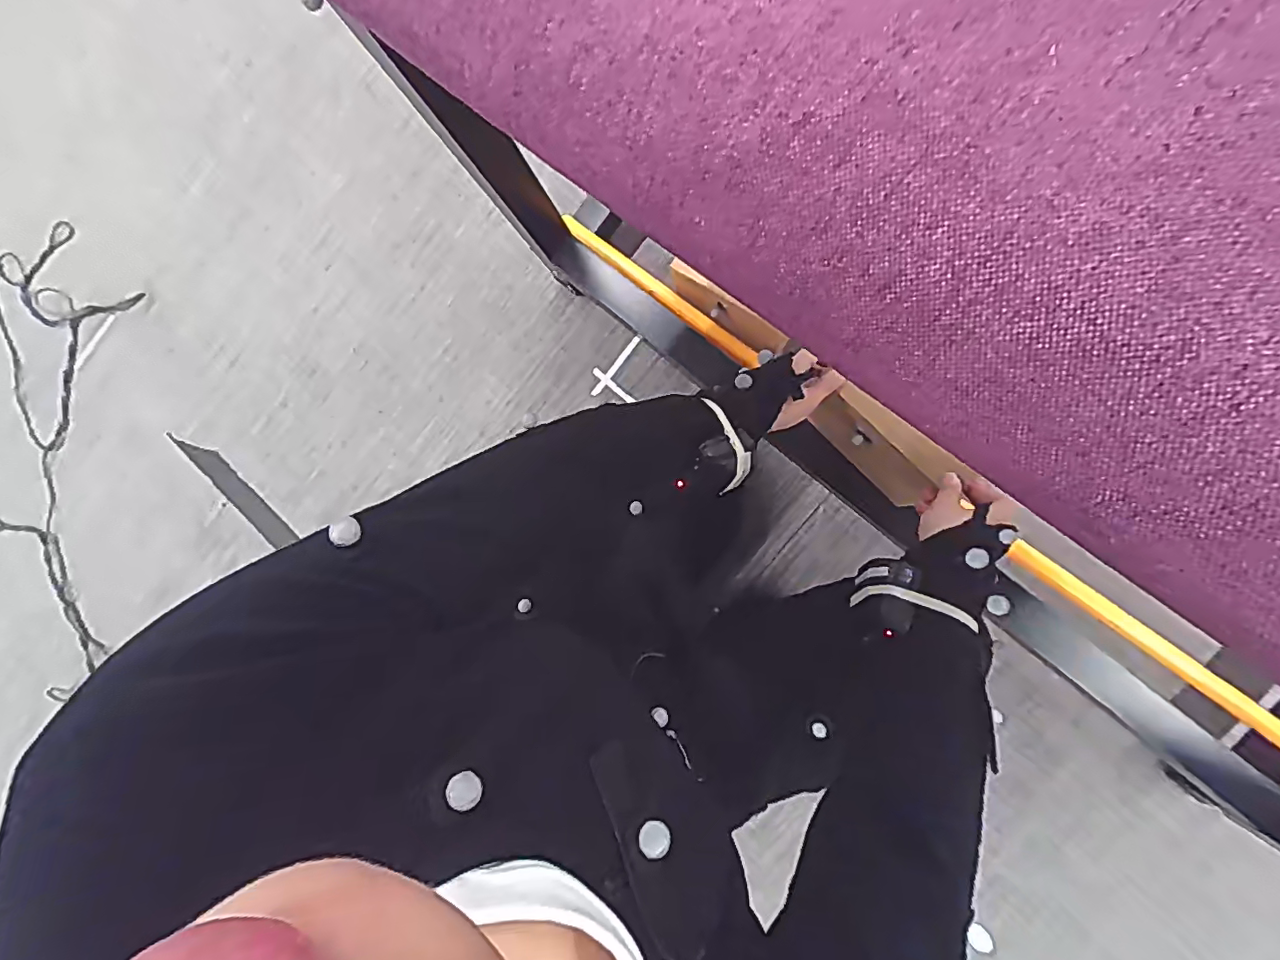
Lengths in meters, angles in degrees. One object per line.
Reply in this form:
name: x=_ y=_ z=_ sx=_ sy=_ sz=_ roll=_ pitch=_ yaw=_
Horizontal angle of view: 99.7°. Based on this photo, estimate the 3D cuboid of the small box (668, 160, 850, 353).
small box: x=0.163 y=-0.299 z=0.767 sx=0.179 sy=0.176 sz=0.168 roll=33 pitch=93 yaw=10

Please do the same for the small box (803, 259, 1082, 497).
small box: x=0.304 y=-0.093 z=0.594 sx=0.168 sy=0.176 sz=0.179 roll=-44 pitch=82 yaw=3
